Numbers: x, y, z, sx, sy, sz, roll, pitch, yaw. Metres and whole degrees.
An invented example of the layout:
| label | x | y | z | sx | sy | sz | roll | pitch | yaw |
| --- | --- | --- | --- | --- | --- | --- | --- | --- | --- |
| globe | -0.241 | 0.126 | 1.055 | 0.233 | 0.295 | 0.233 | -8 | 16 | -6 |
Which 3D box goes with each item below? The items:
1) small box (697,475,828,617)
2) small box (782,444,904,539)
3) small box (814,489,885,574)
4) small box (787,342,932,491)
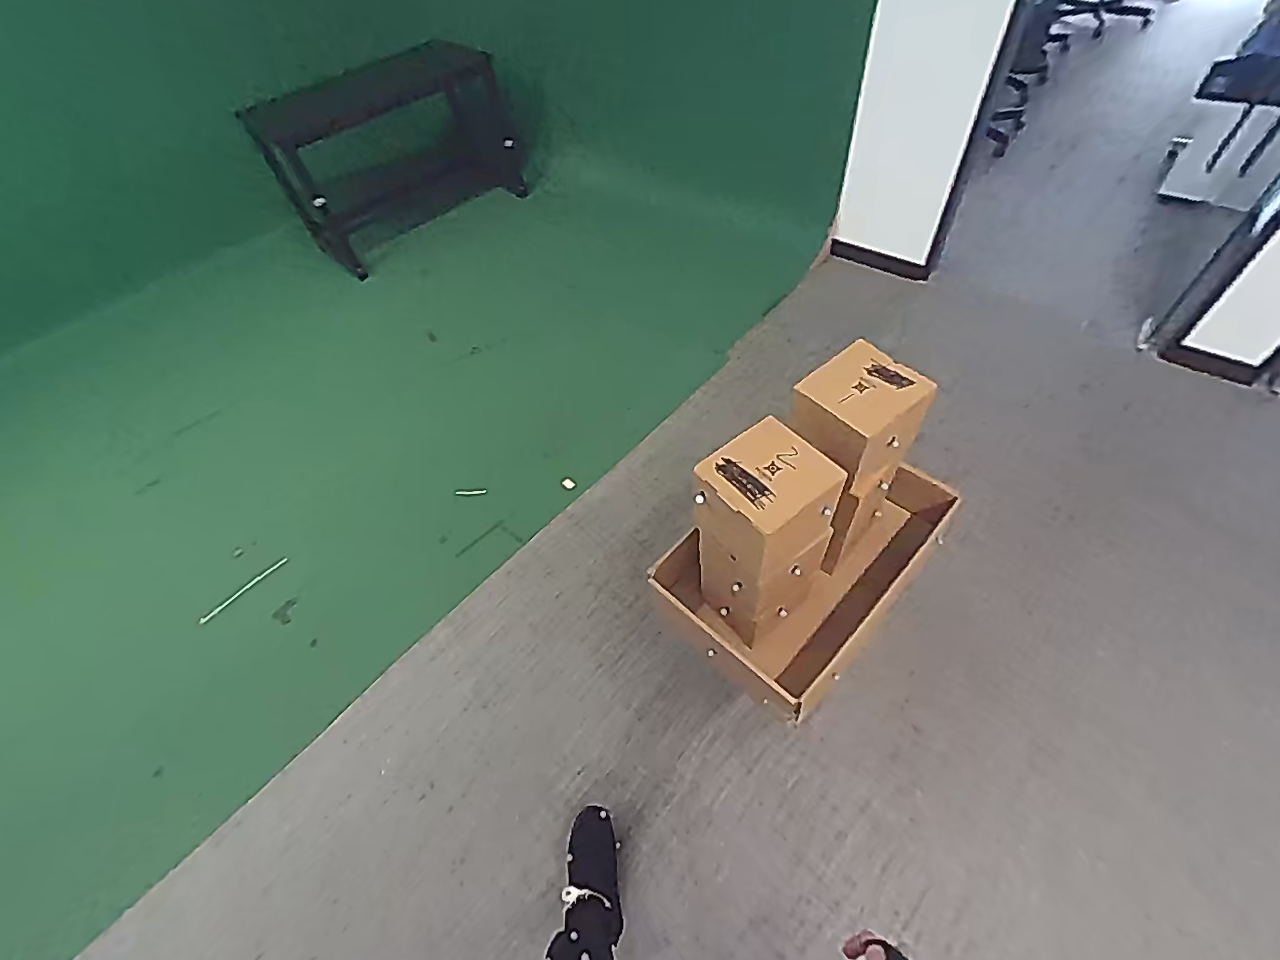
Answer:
| label | x | y | z | sx | sy | sz | roll | pitch | yaw |
| --- | --- | --- | --- | --- | --- | --- | --- | --- | --- |
| small box | 0.228 | 0.130 | 1.034 | 0.179 | 0.176 | 0.168 | -31 | 56 | -17 |
| small box | 0.409 | -0.013 | 1.125 | 0.168 | 0.176 | 0.179 | 35 | 66 | 28 |
| small box | 0.431 | 0.082 | 1.254 | 0.168 | 0.176 | 0.179 | 35 | 66 | 29 |
| small box | 0.390 | -0.115 | 0.997 | 0.179 | 0.176 | 0.168 | -35 | 57 | -15 |
